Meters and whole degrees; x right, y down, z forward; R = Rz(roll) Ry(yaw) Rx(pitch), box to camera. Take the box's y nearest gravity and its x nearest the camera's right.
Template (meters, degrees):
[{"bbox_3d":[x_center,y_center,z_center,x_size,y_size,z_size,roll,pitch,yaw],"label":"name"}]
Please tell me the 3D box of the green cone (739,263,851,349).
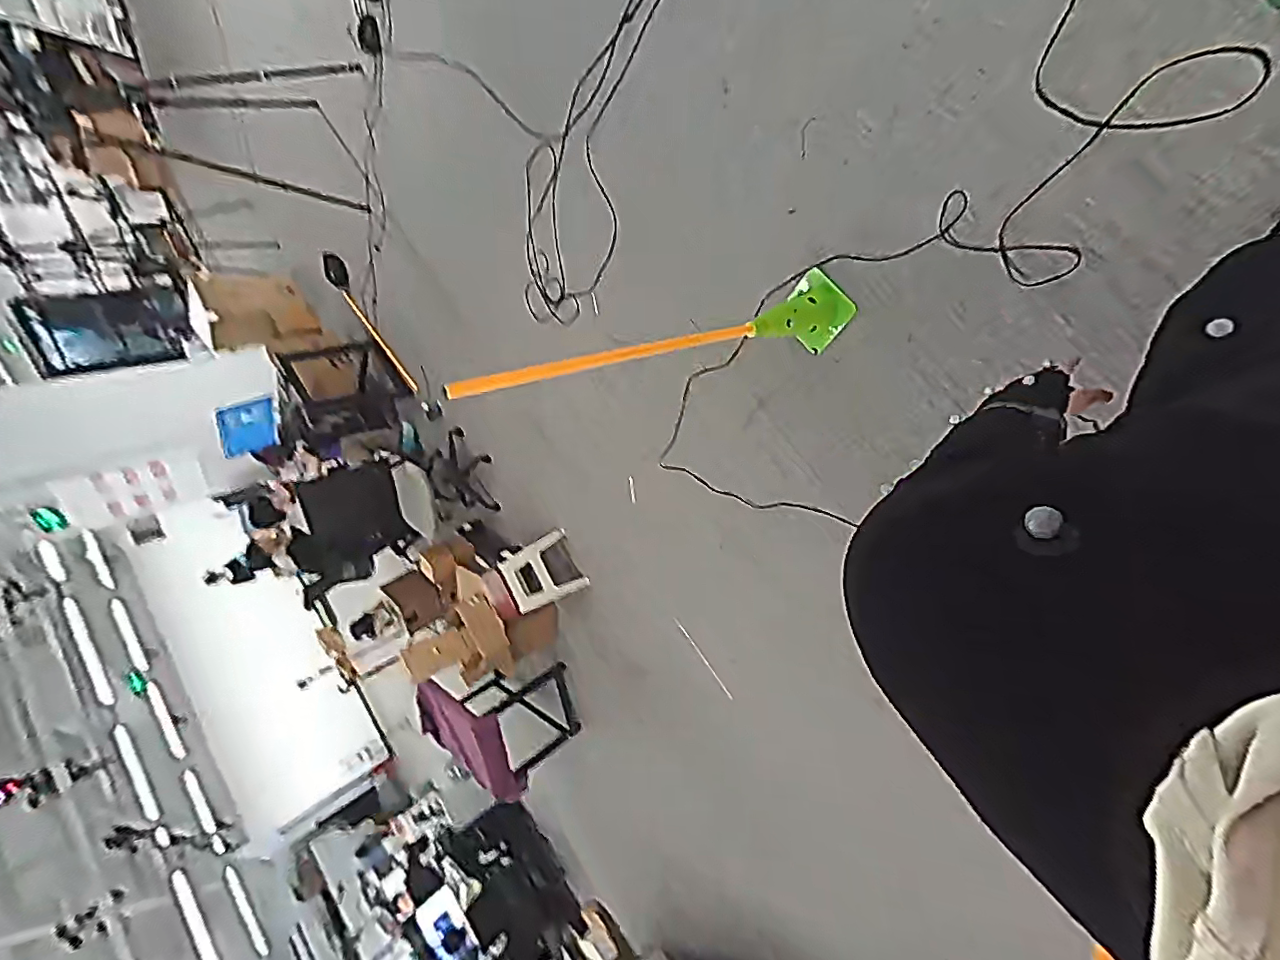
[{"bbox_3d":[0.418,-0.490,1.590,0.202,0.368,0.200,53,139,16],"label":"green cone"}]
